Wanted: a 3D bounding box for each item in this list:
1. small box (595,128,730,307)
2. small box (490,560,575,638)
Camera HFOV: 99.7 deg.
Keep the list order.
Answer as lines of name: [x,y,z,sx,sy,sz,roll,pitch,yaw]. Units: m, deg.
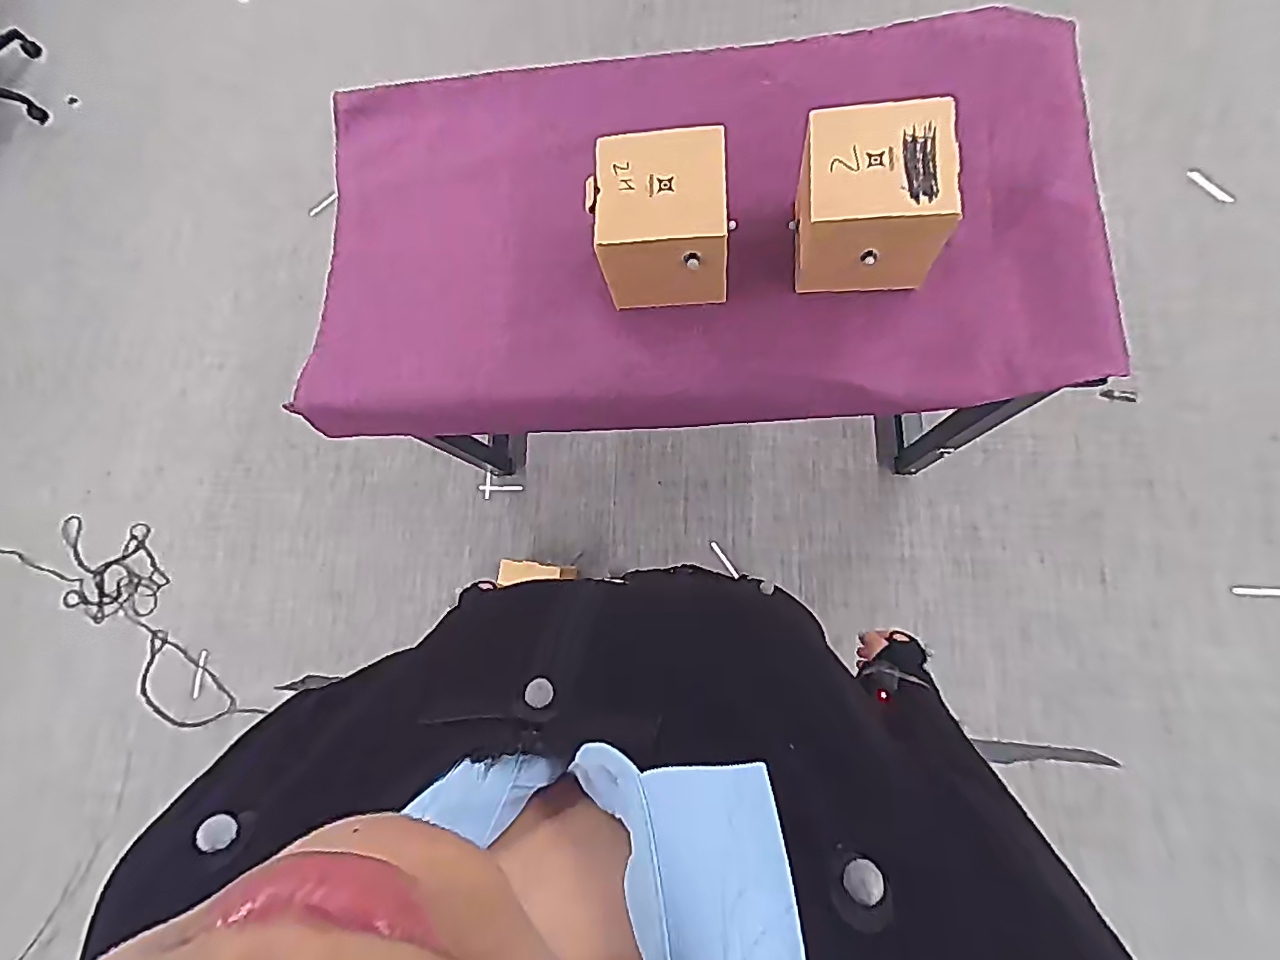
small box: [0.039,-0.369,0.788,0.179,0.176,0.168,-1,78,9]
small box: [-0.281,0.316,1.458,0.168,0.176,0.179,6,80,9]
